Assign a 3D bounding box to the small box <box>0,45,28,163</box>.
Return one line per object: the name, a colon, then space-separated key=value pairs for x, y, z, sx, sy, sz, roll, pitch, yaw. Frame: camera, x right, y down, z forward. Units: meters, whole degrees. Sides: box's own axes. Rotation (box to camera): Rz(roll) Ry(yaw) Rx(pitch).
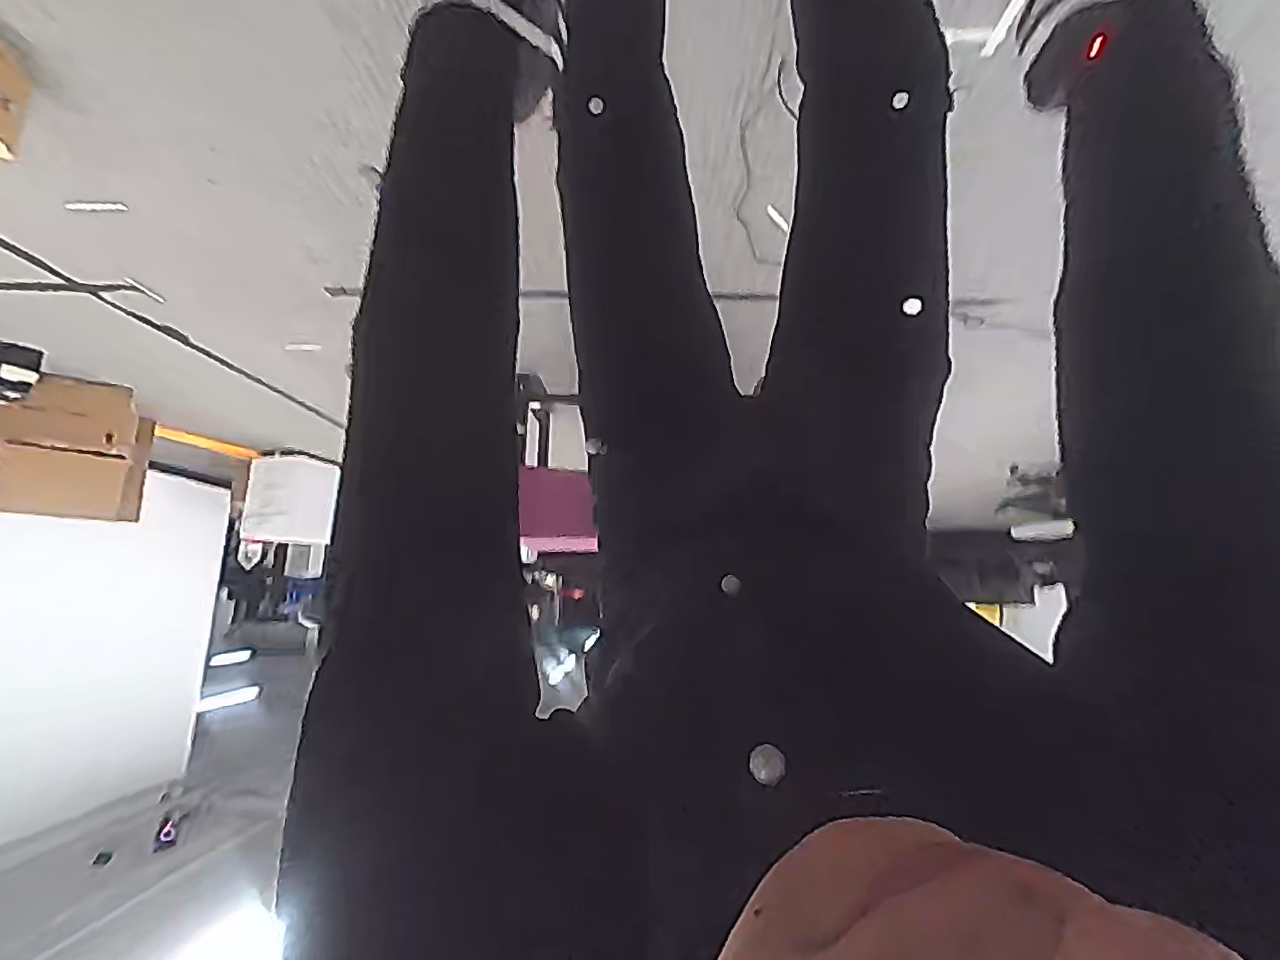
small box: x=-1.225 y=-0.702 z=0.936 sx=0.179 sy=0.176 sz=0.168 roll=7 pitch=166 yaw=-25
